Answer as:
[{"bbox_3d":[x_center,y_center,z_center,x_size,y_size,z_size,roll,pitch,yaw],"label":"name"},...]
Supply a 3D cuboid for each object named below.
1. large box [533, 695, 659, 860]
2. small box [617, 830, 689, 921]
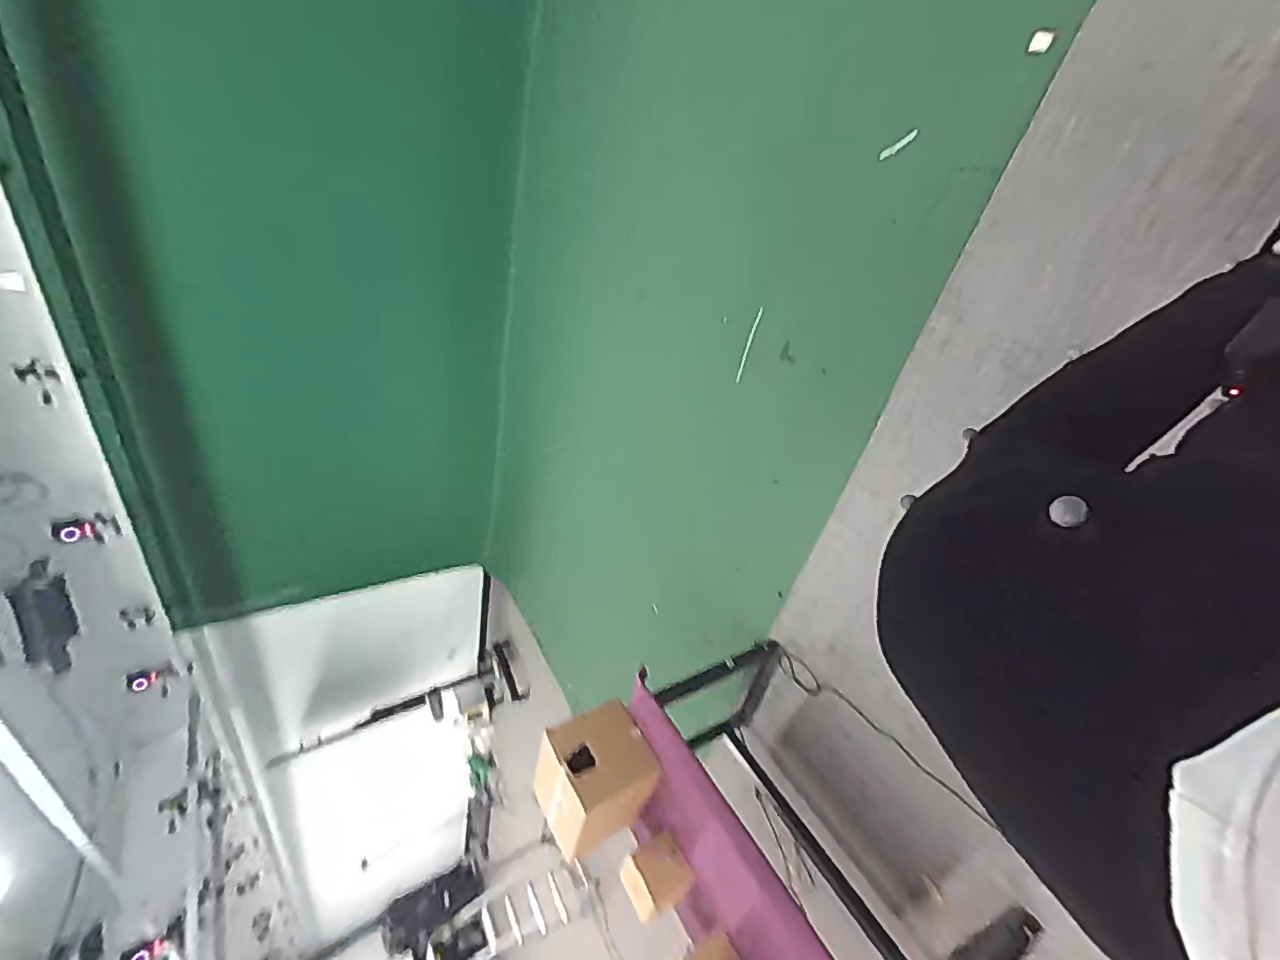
[{"bbox_3d":[-0.170,1.076,1.979,0.320,0.320,0.408,46,133,38],"label":"large box"},{"bbox_3d":[0.045,1.353,1.855,0.168,0.176,0.179,46,134,39],"label":"small box"}]
